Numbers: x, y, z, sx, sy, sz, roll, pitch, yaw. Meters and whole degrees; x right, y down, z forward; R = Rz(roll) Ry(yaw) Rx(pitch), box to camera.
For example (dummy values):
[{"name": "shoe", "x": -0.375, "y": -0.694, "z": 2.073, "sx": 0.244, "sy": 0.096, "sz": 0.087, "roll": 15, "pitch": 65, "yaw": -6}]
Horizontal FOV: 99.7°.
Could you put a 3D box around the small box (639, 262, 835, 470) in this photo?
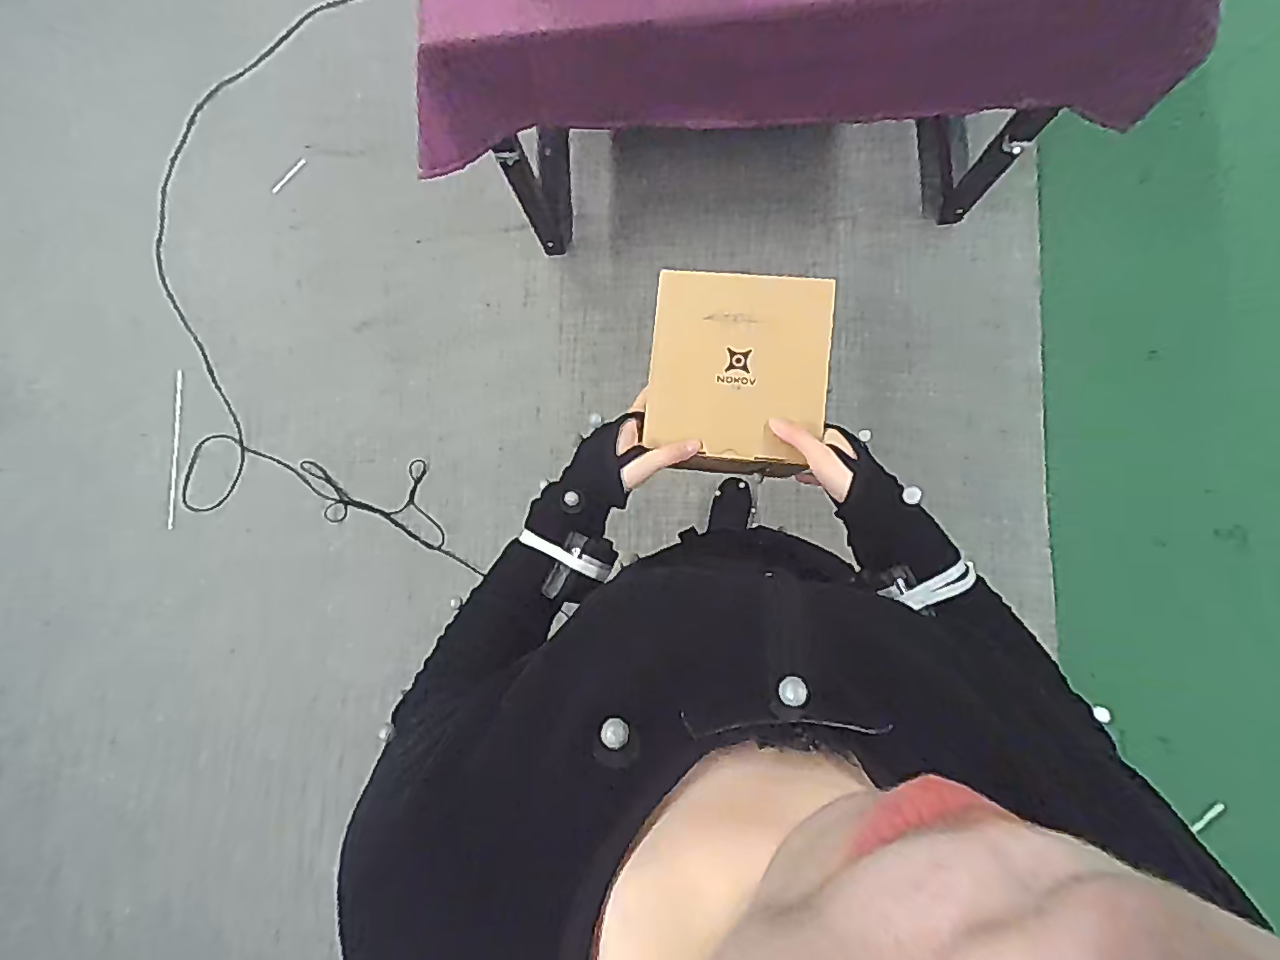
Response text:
[{"name": "small box", "x": 0.099, "y": -0.108, "z": 0.581, "sx": 0.168, "sy": 0.176, "sz": 0.179, "roll": 7, "pitch": 87, "yaw": 6}]

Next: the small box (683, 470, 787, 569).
[{"name": "small box", "x": 0.240, "y": 0.102, "z": 1.404, "sx": 0.179, "sy": 0.176, "sz": 0.168, "roll": -15, "pitch": 55, "yaw": -31}]
